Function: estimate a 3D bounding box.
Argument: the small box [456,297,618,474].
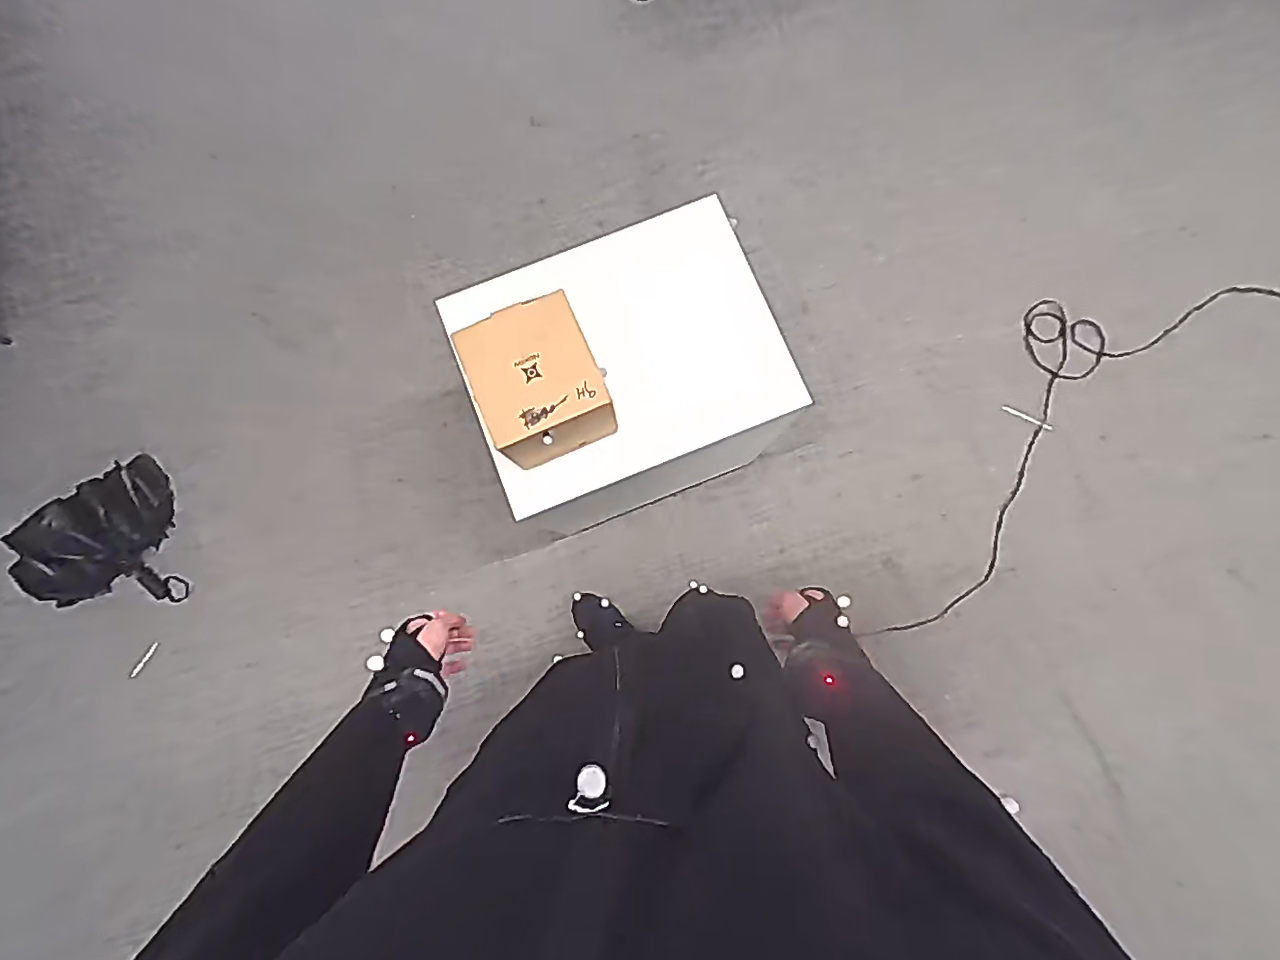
[{"bbox_3d":[-0.140,-0.128,0.793,0.168,0.176,0.179,-23,81,-2],"label":"small box"}]
